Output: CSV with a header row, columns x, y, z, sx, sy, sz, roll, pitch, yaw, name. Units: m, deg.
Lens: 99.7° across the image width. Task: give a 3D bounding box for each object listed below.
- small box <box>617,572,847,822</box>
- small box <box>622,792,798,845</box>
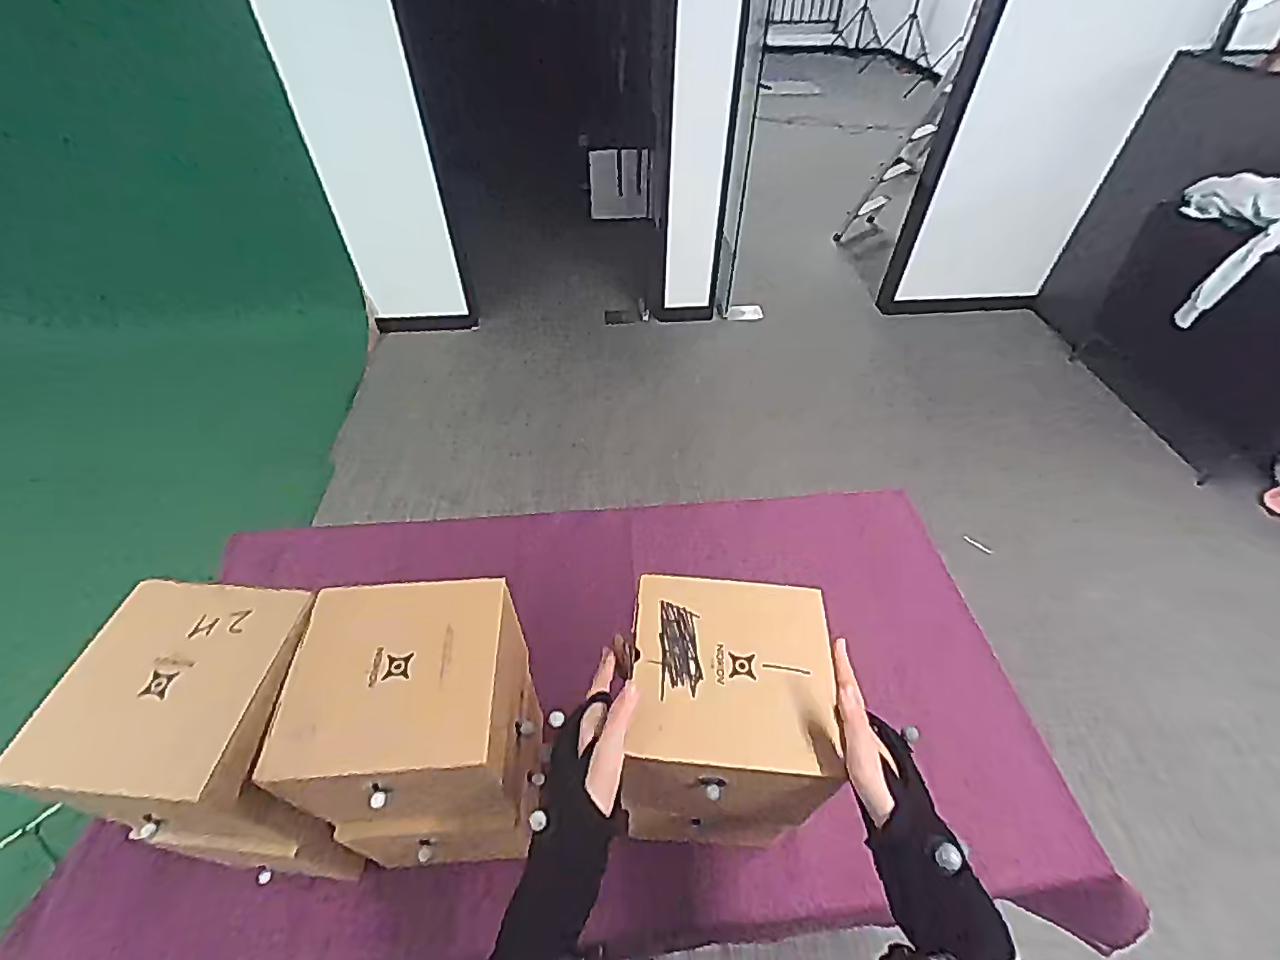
x,y,z,sx,sy,sz,roll,pitch,yaw,name
0.074,0.208,0.515,0.179,0.176,0.168,5,47,2,small box
0.074,0.317,0.639,0.179,0.176,0.168,2,47,2,small box
